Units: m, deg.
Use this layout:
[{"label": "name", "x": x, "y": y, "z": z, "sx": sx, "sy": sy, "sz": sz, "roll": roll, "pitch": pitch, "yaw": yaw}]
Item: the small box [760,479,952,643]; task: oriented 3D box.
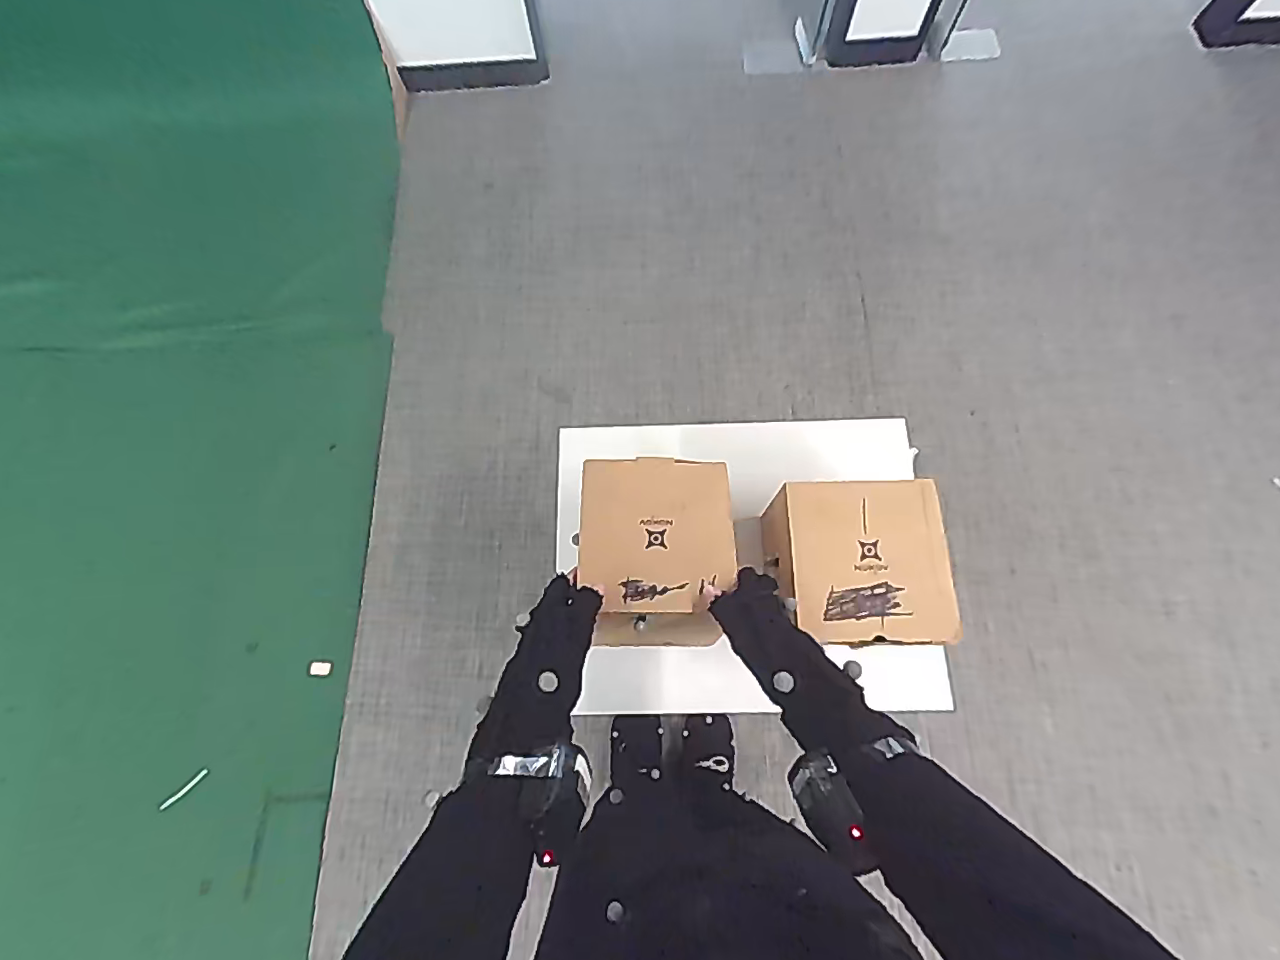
[{"label": "small box", "x": 0.244, "y": 0.106, "z": 0.657, "sx": 0.168, "sy": 0.176, "sz": 0.179, "roll": -1, "pitch": 72, "yaw": 3}]

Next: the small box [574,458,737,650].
[{"label": "small box", "x": 0.015, "y": 0.092, "z": 0.648, "sx": 0.168, "sy": 0.176, "sz": 0.179, "roll": 0, "pitch": 59, "yaw": 0}]
